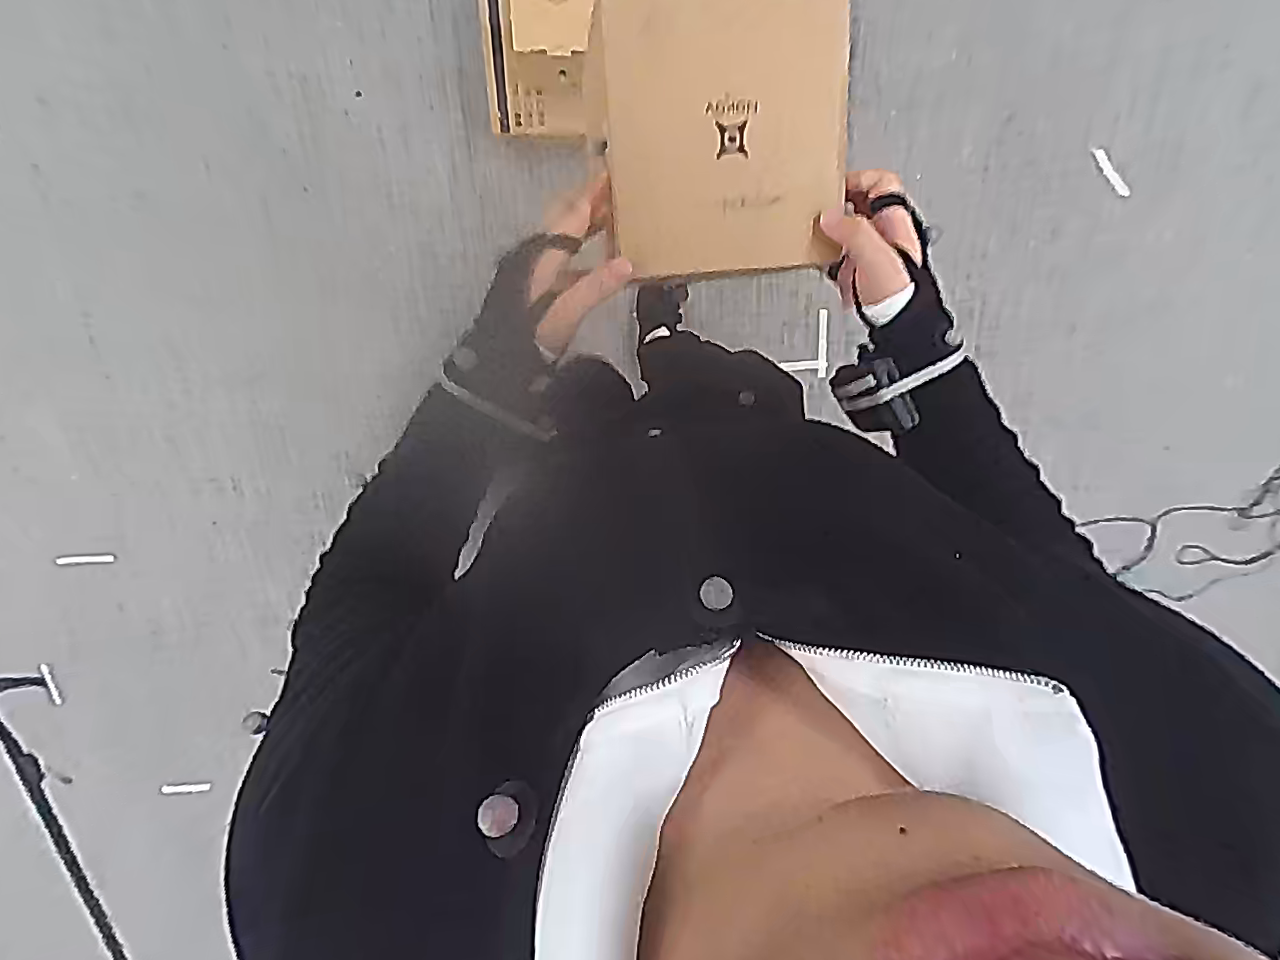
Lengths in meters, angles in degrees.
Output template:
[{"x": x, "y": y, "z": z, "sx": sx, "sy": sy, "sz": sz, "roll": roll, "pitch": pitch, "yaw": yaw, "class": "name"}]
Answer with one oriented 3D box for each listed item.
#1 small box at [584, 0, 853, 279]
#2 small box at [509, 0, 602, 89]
[{"x": 0.049, "y": -0.263, "z": 0.434, "sx": 0.168, "sy": 0.176, "sz": 0.179, "roll": -7, "pitch": 109, "yaw": -7, "class": "small box"}, {"x": -0.153, "y": -0.865, "z": 1.020, "sx": 0.168, "sy": 0.176, "sz": 0.179, "roll": -2, "pitch": 108, "yaw": -4, "class": "small box"}]
